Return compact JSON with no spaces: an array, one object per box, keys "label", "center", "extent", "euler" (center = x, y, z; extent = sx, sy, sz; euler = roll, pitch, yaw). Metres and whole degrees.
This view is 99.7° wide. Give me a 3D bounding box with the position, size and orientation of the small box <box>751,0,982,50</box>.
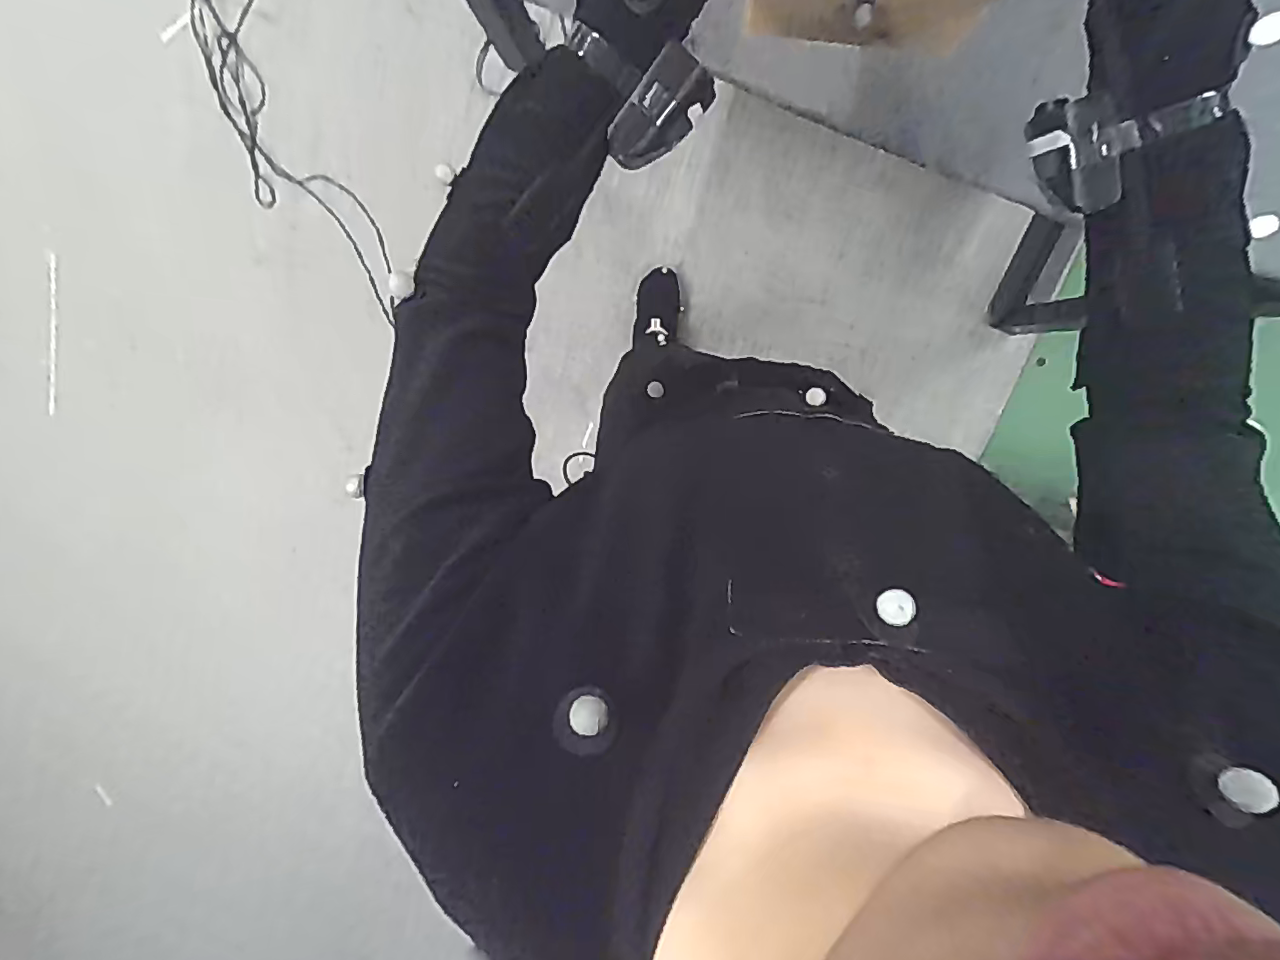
[{"label":"small box","center":[0.169,-0.419,0.333],"extent":[0.168,0.176,0.179],"euler":[10,102,3]}]
